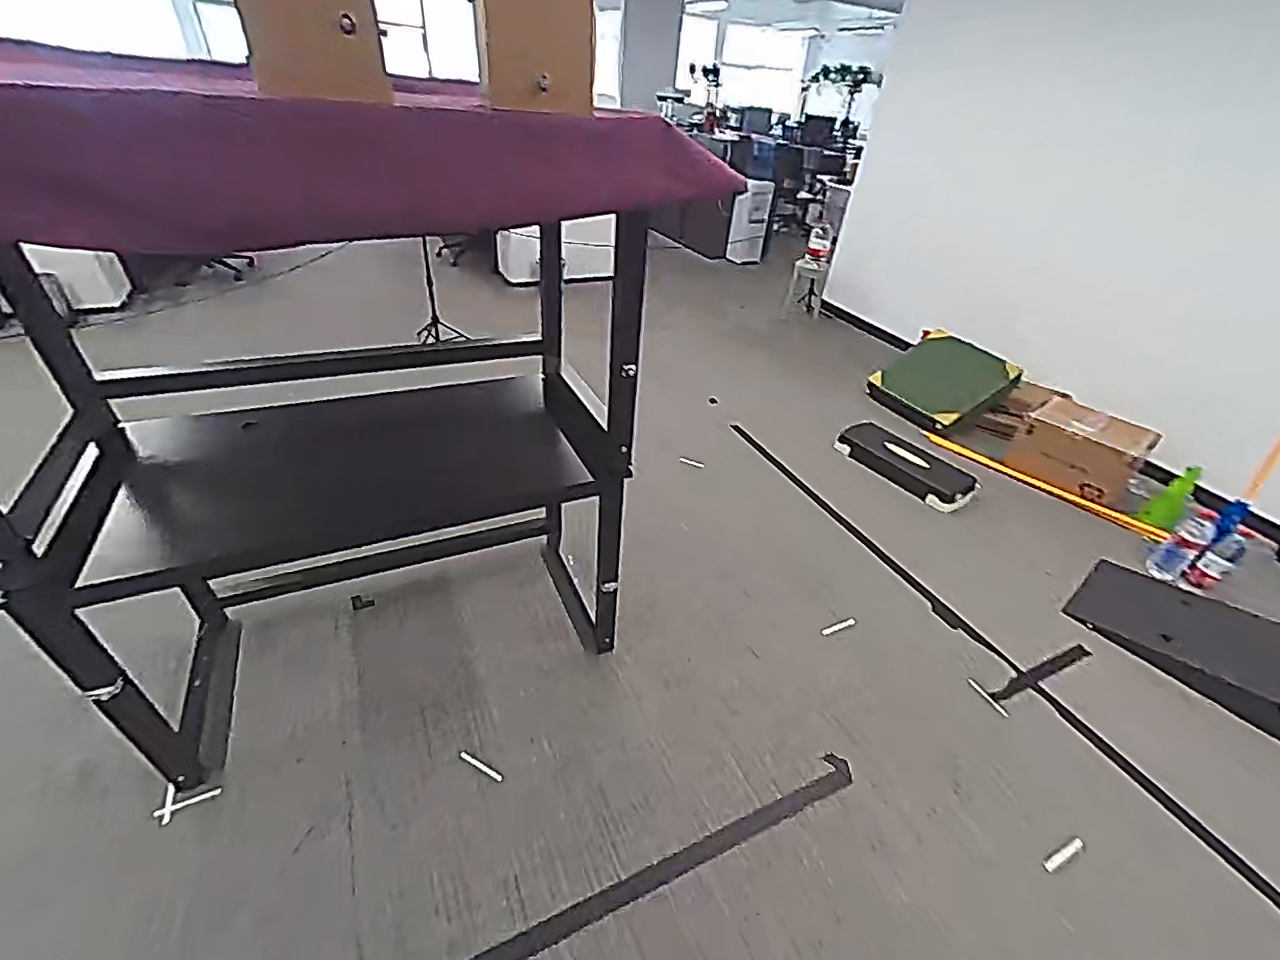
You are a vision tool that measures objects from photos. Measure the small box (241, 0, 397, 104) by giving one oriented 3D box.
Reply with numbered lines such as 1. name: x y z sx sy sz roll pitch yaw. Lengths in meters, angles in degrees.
1. small box: -0.461 -0.657 0.789 0.179 0.176 0.168 -11 38 -20

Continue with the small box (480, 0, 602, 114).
1. small box: -0.171 -0.726 0.915 0.179 0.176 0.168 -9 37 -18
